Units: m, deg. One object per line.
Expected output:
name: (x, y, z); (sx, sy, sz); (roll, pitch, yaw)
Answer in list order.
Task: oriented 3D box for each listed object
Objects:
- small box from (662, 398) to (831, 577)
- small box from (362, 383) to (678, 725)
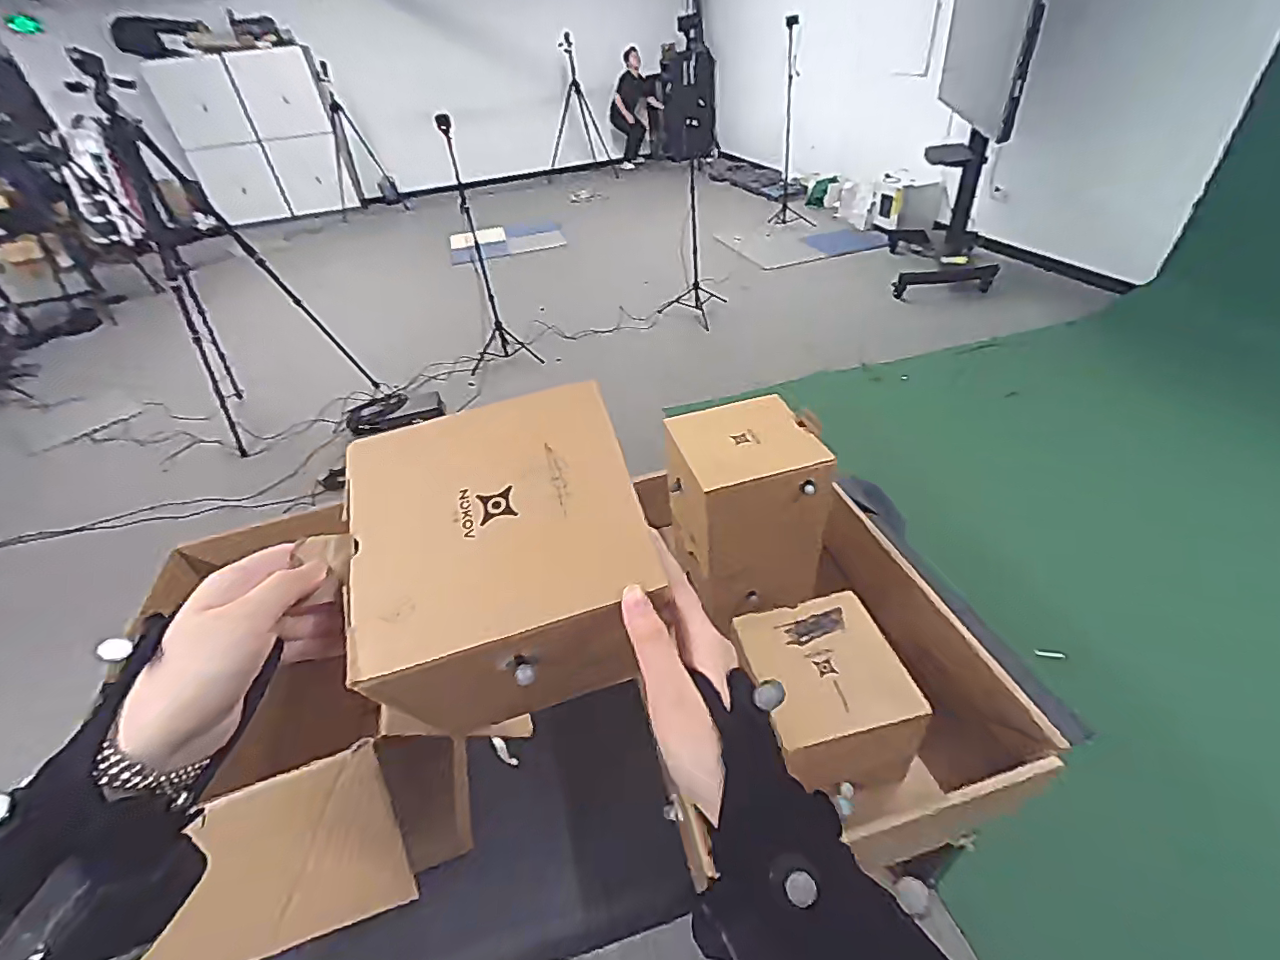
small box: (0.142, 0.012, 0.762); (0.179, 0.176, 0.168); (-14, 41, -9)
small box: (-0.077, 0.062, 0.398); (0.179, 0.176, 0.168); (-16, 58, -7)
